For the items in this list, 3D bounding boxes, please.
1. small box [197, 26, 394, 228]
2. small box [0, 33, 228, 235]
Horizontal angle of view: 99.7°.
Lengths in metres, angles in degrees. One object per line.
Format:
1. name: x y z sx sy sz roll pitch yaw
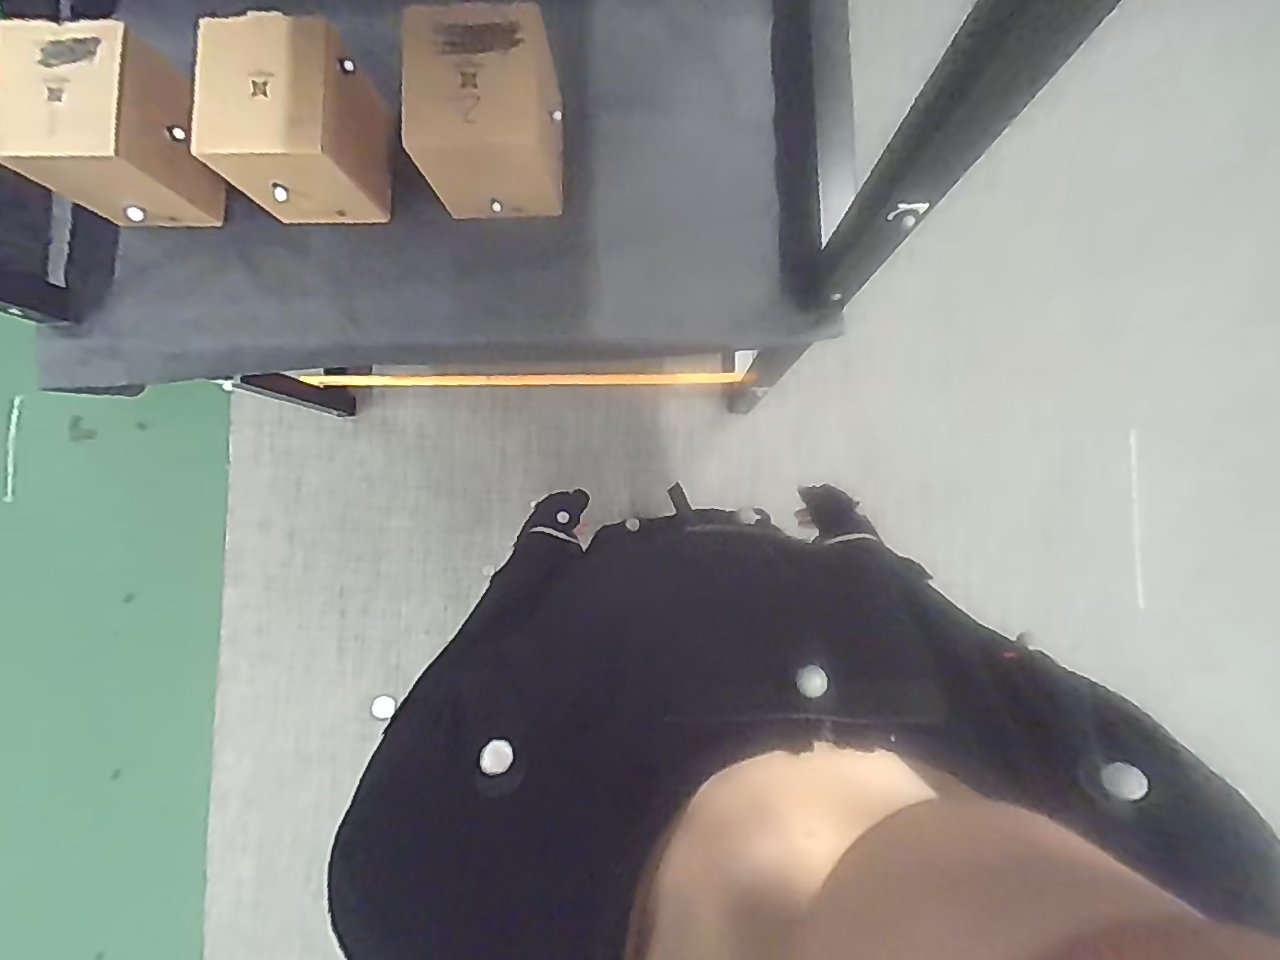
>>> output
1. small box: -0.458 -0.469 0.744 0.168 0.176 0.179 0 86 2
2. small box: -0.711 -0.468 0.751 0.168 0.176 0.179 1 87 2
